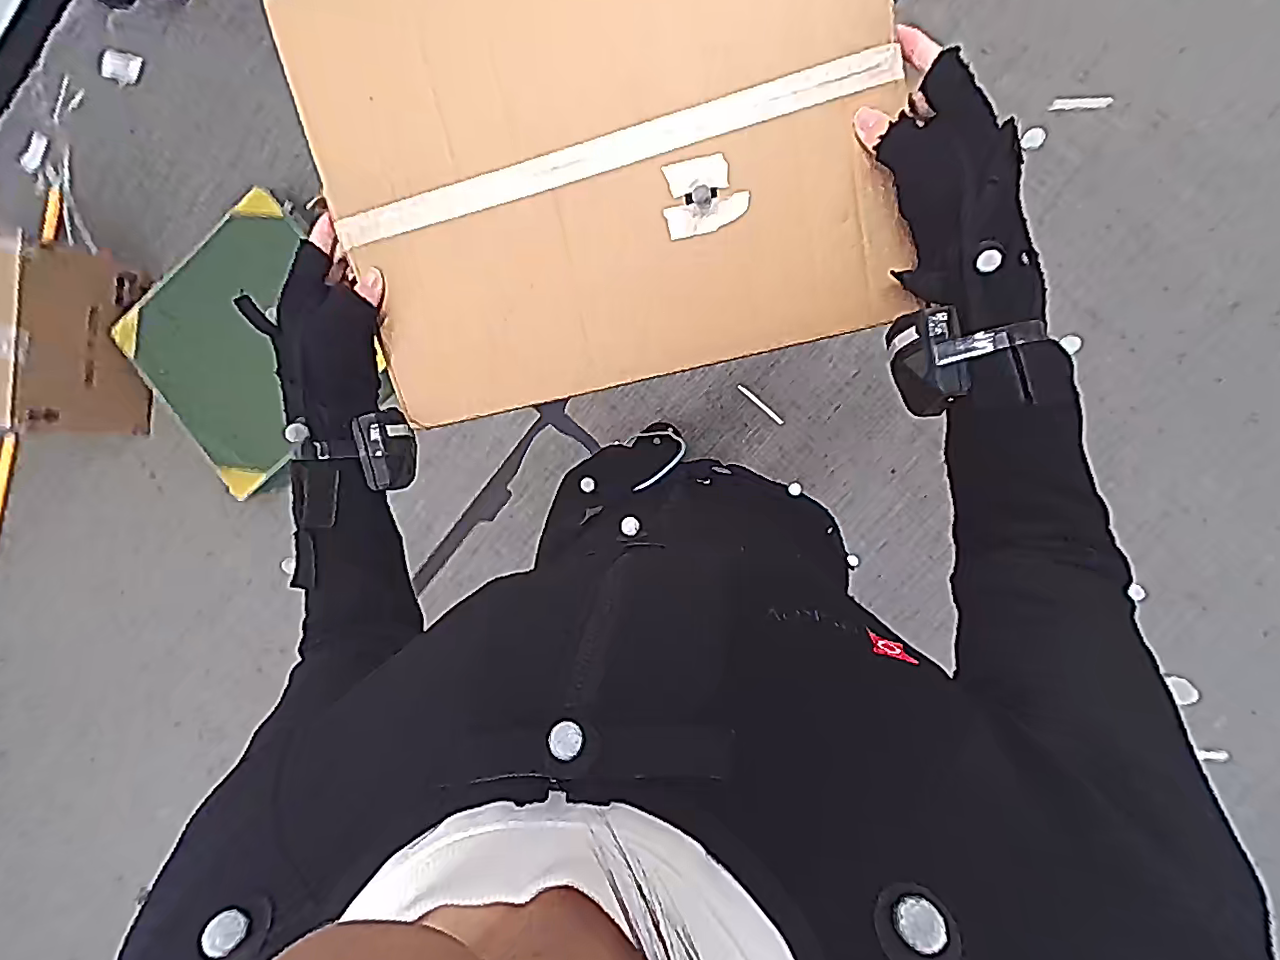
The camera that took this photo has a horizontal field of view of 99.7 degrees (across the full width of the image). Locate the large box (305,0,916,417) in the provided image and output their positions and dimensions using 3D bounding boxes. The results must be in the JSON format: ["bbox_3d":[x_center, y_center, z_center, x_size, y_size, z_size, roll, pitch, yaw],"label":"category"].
[{"bbox_3d":[-0.006,-0.272,0.536,0.408,0.320,0.320,-11,104,10],"label":"large box"}]
